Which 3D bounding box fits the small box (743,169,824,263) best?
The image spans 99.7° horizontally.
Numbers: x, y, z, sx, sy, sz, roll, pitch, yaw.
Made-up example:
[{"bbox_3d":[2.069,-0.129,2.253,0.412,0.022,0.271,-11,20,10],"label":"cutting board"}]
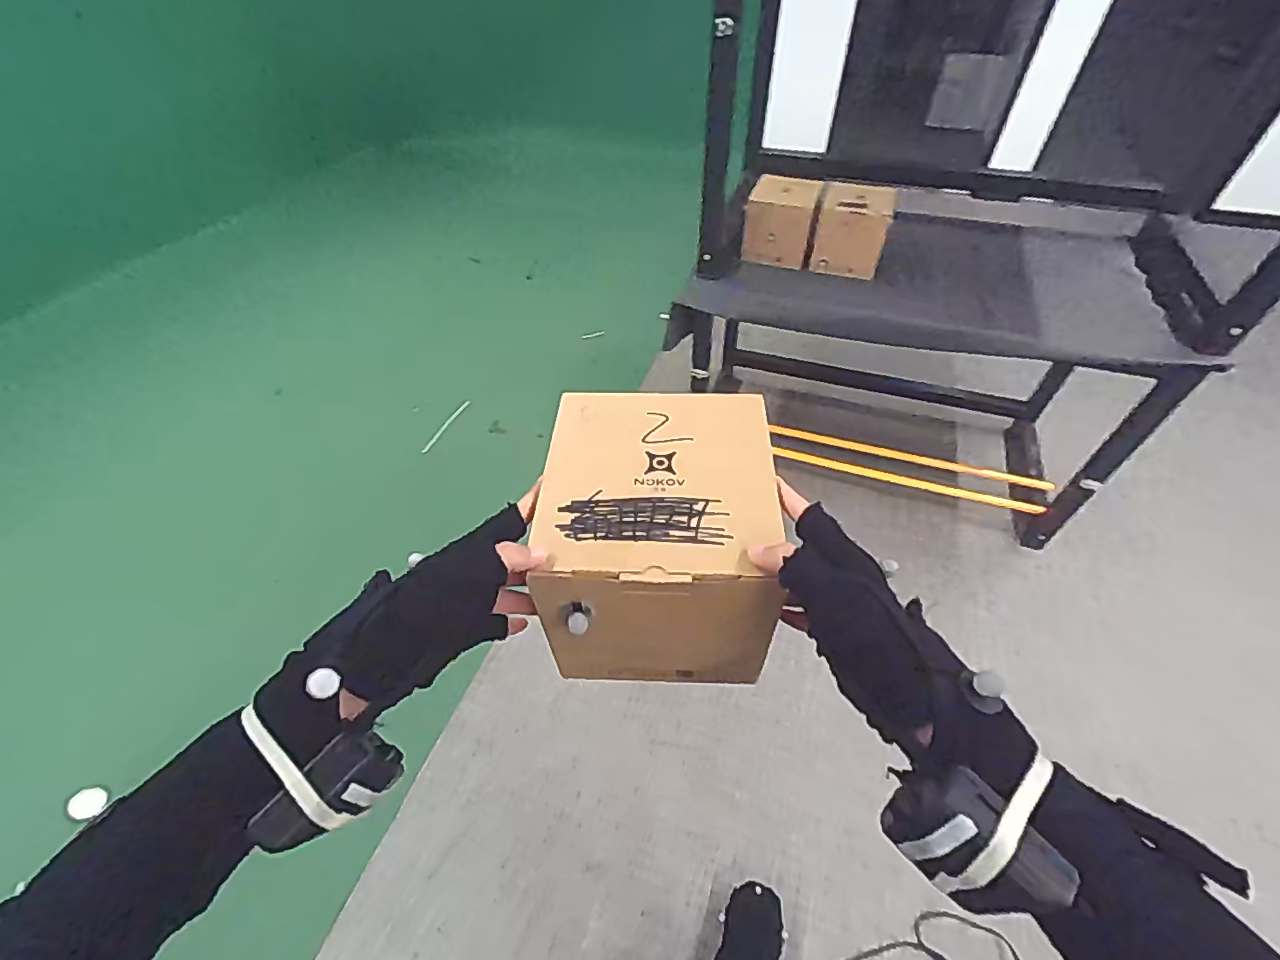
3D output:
[{"bbox_3d":[0.382,-0.709,1.459,0.168,0.176,0.179,17,52,14],"label":"small box"}]
